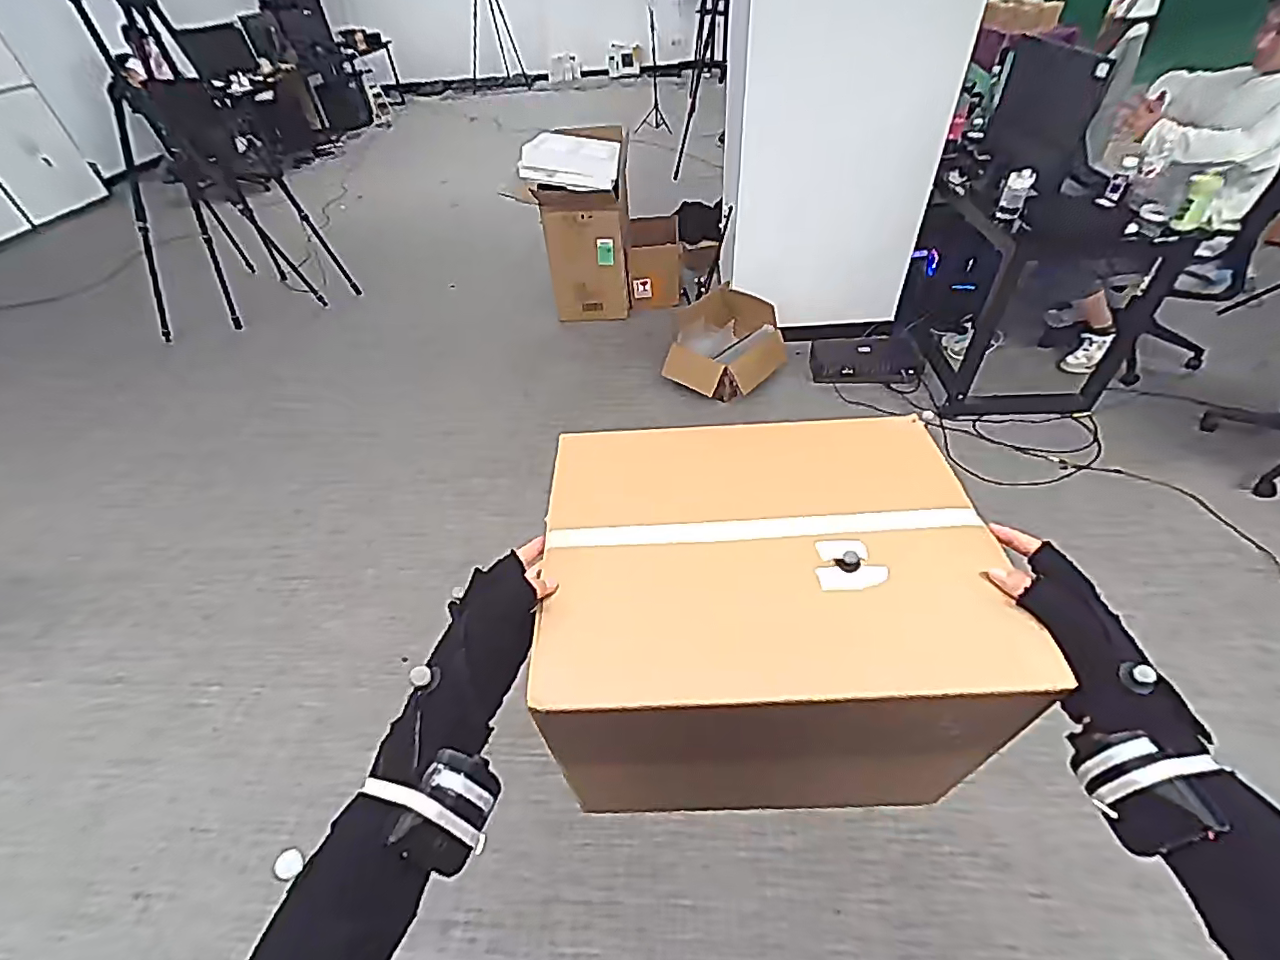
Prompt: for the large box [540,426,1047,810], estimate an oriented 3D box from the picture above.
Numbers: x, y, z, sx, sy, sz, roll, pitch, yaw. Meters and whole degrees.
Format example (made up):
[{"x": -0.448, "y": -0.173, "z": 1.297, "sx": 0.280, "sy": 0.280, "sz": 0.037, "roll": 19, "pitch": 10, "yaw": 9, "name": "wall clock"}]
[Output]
[{"x": 0.120, "y": 0.161, "z": 0.626, "sx": 0.408, "sy": 0.320, "sz": 0.320, "roll": -3, "pitch": 46, "yaw": 1, "name": "large box"}]
